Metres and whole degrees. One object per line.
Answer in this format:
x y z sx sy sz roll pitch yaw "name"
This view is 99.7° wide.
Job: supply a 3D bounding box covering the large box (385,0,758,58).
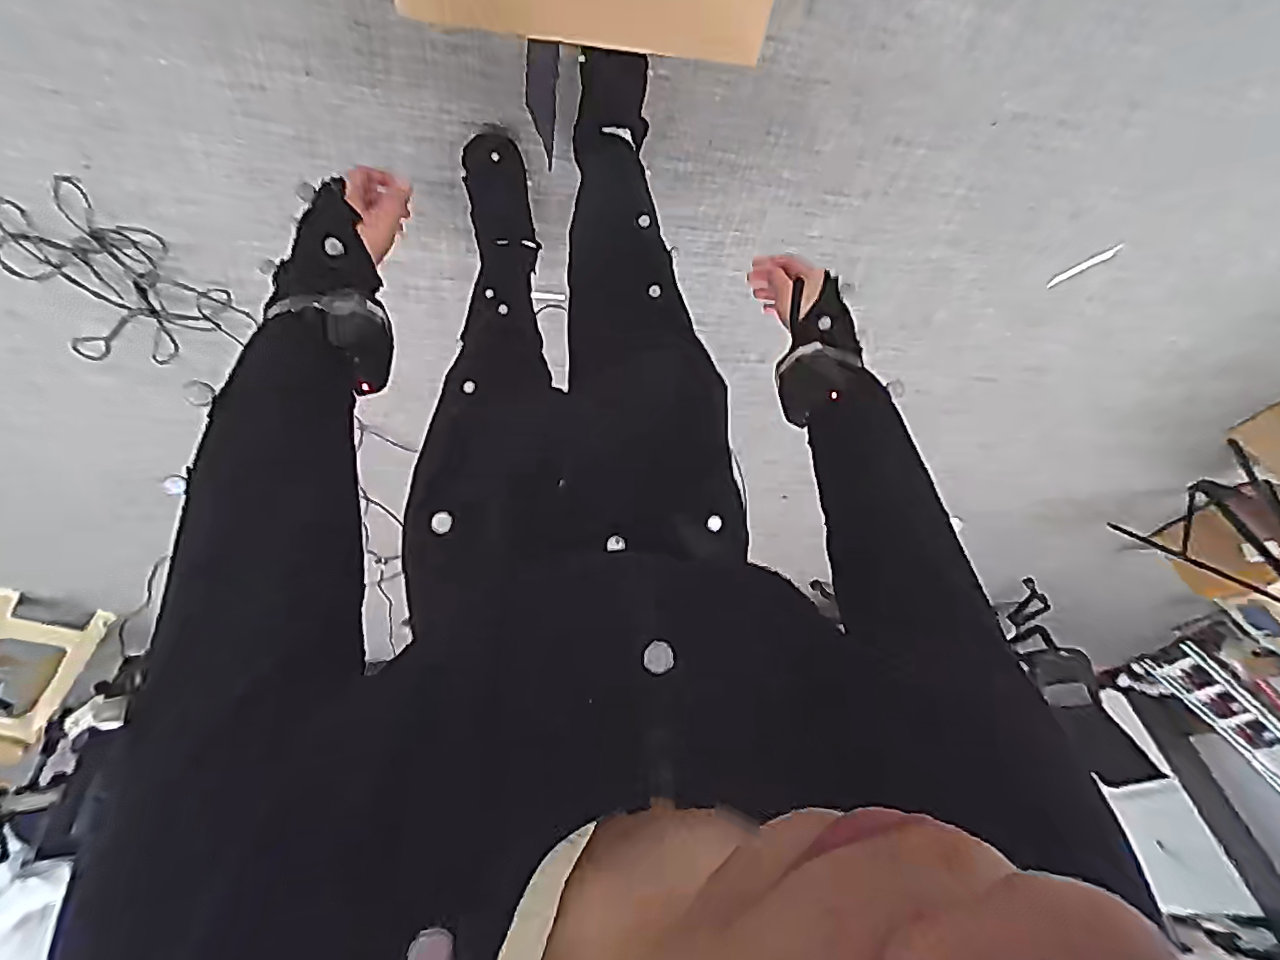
-0.075 -0.699 0.570 0.408 0.320 0.320 -2 144 -11 "large box"
